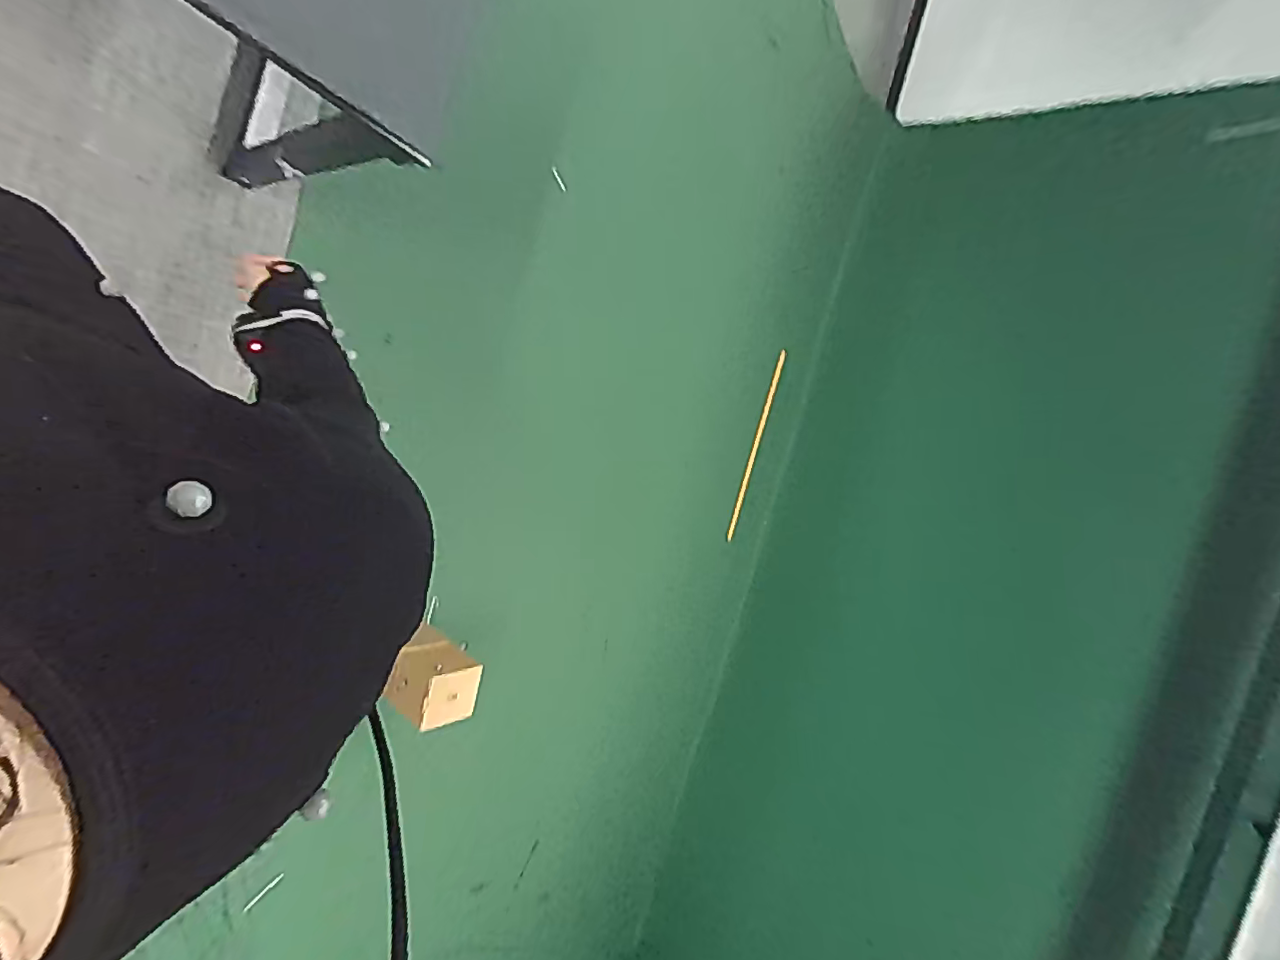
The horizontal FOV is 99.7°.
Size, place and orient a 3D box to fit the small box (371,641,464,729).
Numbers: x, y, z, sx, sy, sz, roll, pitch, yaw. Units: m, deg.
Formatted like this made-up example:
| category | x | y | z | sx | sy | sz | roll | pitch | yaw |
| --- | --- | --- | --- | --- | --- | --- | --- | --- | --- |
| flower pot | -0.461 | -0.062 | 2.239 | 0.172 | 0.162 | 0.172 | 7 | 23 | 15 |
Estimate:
| category | x | y | z | sx | sy | sz | roll | pitch | yaw |
| --- | --- | --- | --- | --- | --- | --- | --- | --- | --- |
| small box | -0.661 | 0.596 | 1.602 | 0.179 | 0.176 | 0.168 | 6 | 100 | -55 |
